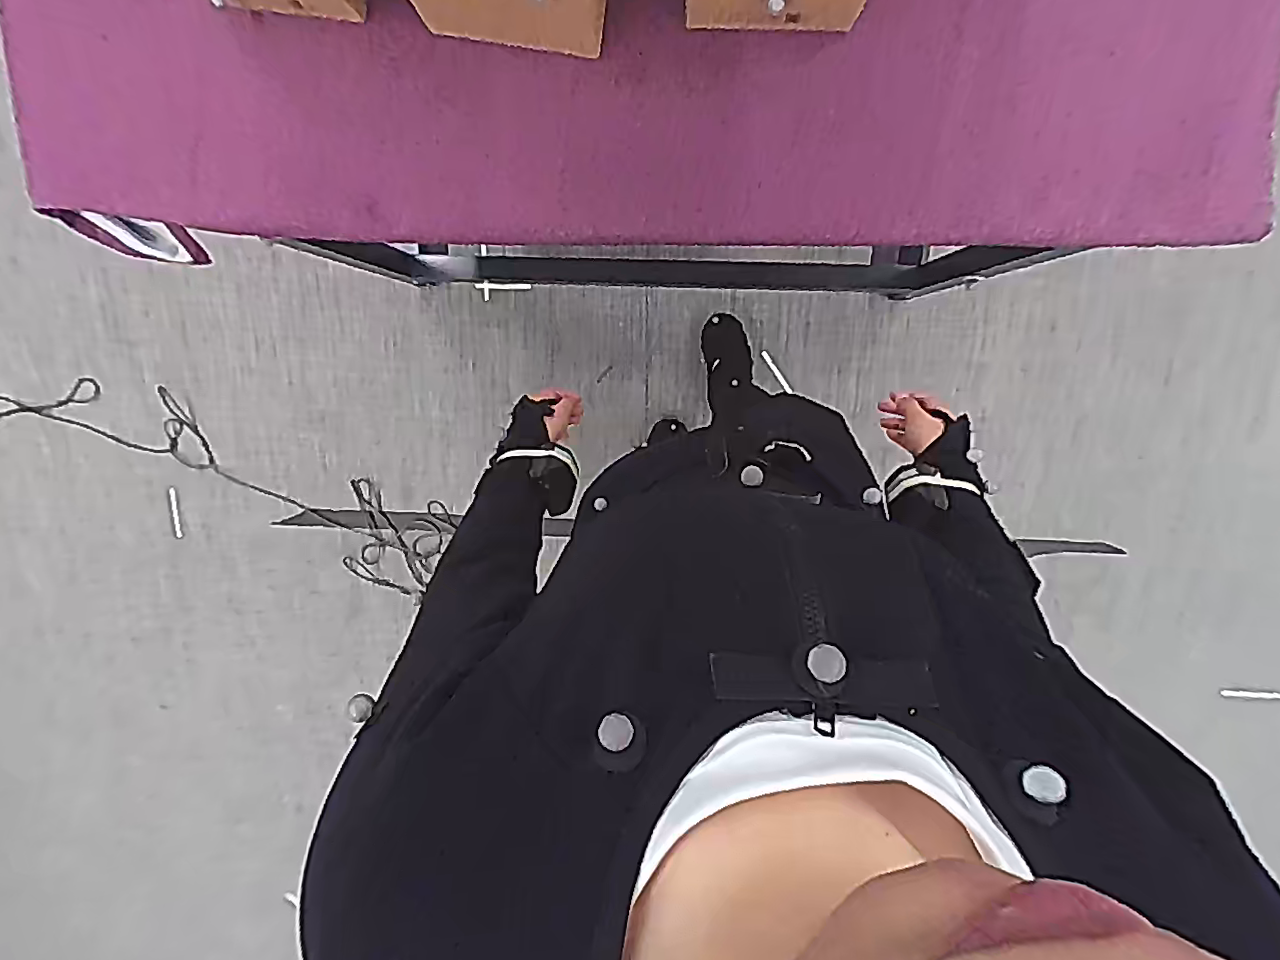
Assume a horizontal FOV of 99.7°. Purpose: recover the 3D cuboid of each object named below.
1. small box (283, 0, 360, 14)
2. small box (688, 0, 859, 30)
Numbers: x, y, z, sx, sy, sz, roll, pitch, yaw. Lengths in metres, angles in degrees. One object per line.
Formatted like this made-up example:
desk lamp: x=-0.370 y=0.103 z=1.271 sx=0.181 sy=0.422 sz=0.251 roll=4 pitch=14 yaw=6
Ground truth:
small box: x=-0.352 y=-0.544 z=0.454 sx=0.168 sy=0.176 sz=0.179 roll=7 pitch=102 yaw=0
small box: x=0.126 y=-0.522 z=0.442 sx=0.168 sy=0.176 sz=0.179 roll=3 pitch=102 yaw=2
